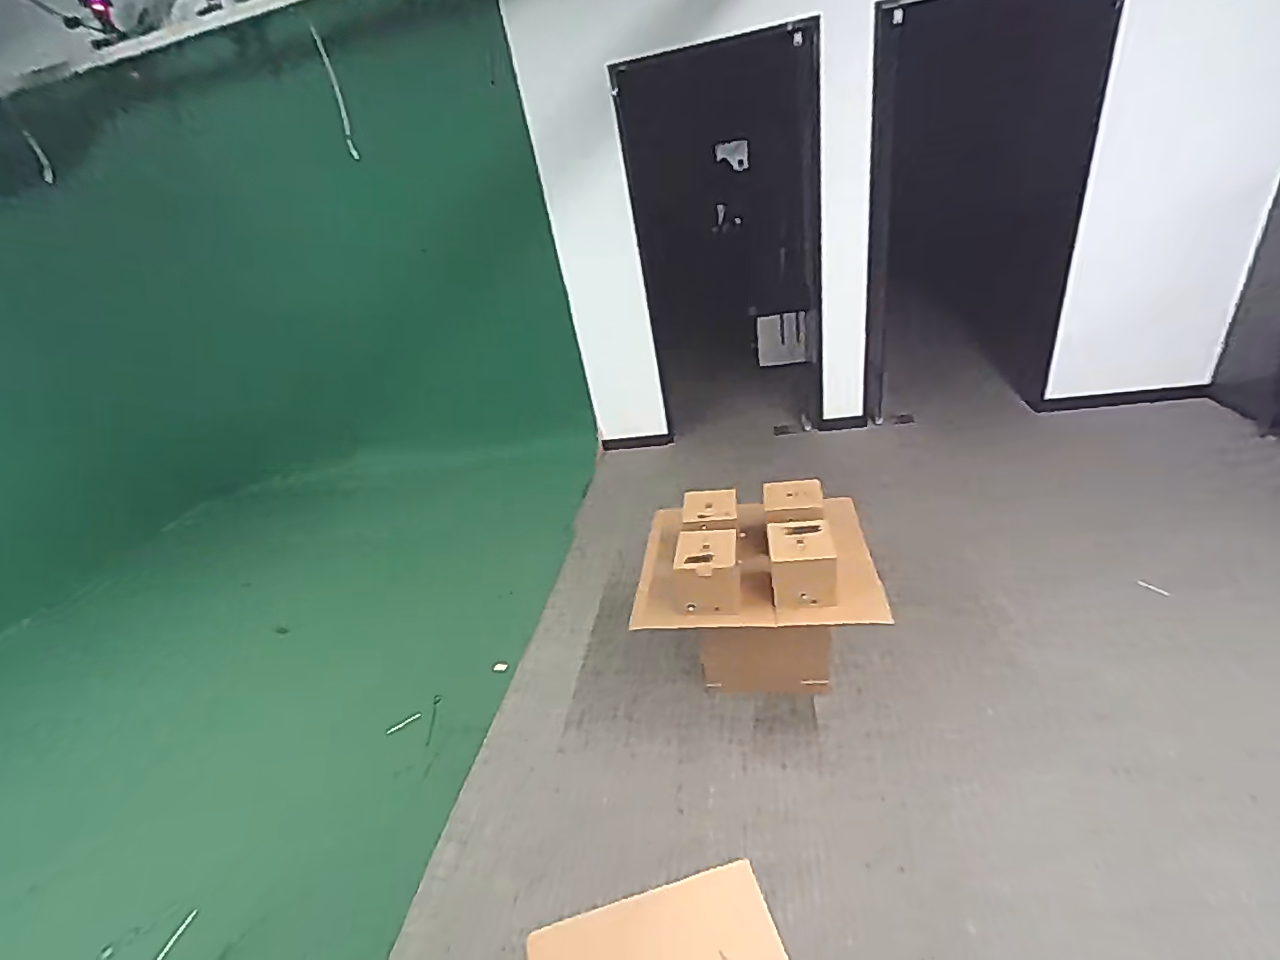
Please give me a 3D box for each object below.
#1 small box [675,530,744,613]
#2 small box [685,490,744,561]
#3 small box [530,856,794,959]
[{"bbox_3d":[0.204,0.264,1.537,0.168,0.176,0.179,-5,29,14],"label":"small box"},{"bbox_3d":[0.240,0.151,1.725,0.168,0.176,0.179,-7,27,12],"label":"small box"},{"bbox_3d":[0.020,0.412,0.385,0.179,0.176,0.168,-4,38,-17],"label":"small box"}]
